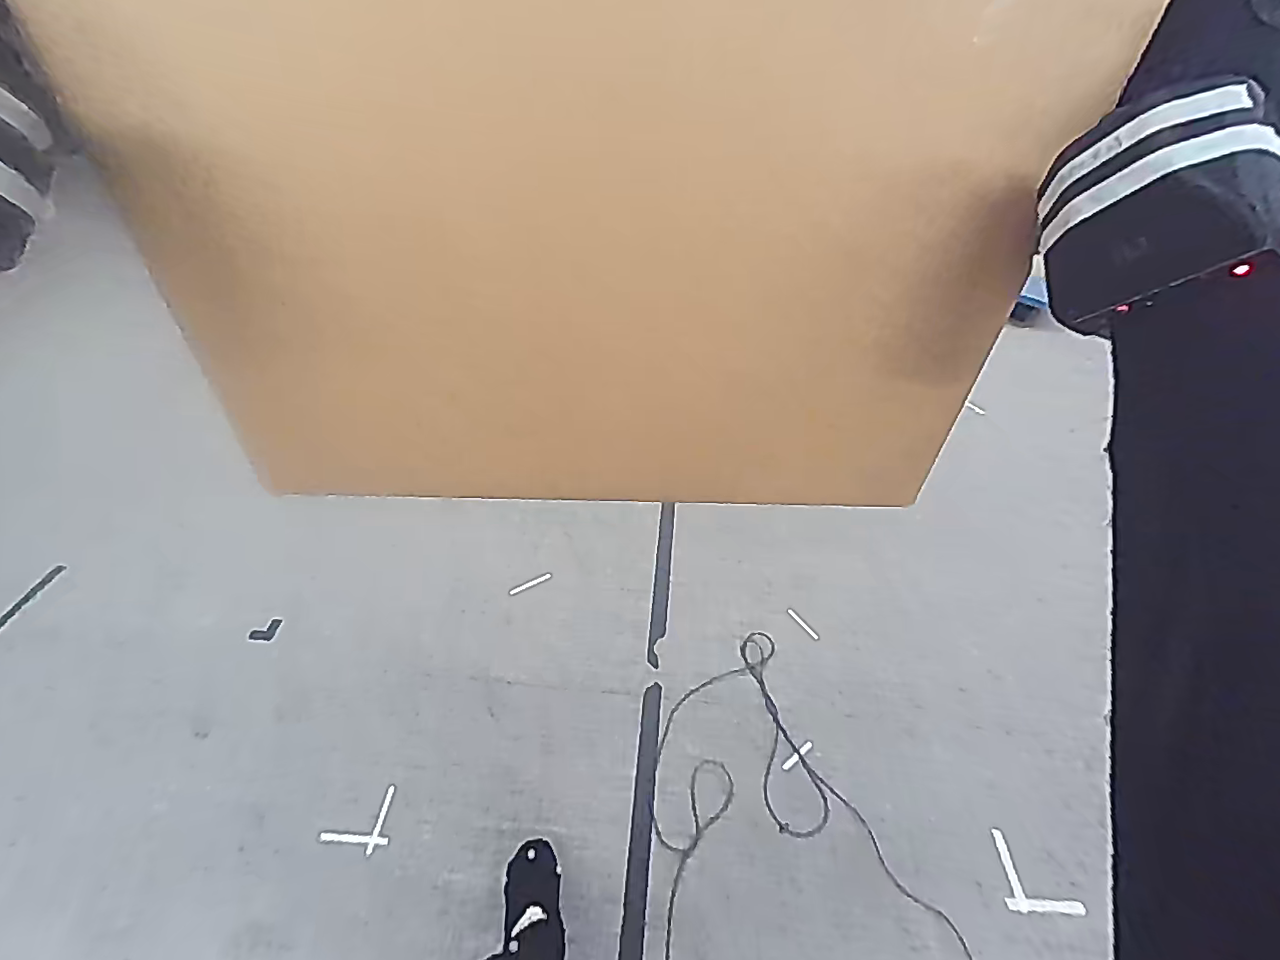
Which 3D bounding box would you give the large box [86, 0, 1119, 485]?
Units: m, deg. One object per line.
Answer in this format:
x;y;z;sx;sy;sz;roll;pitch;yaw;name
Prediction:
-0.021;-0.208;0.373;0.408;0.320;0.320;2;40;-4;large box
